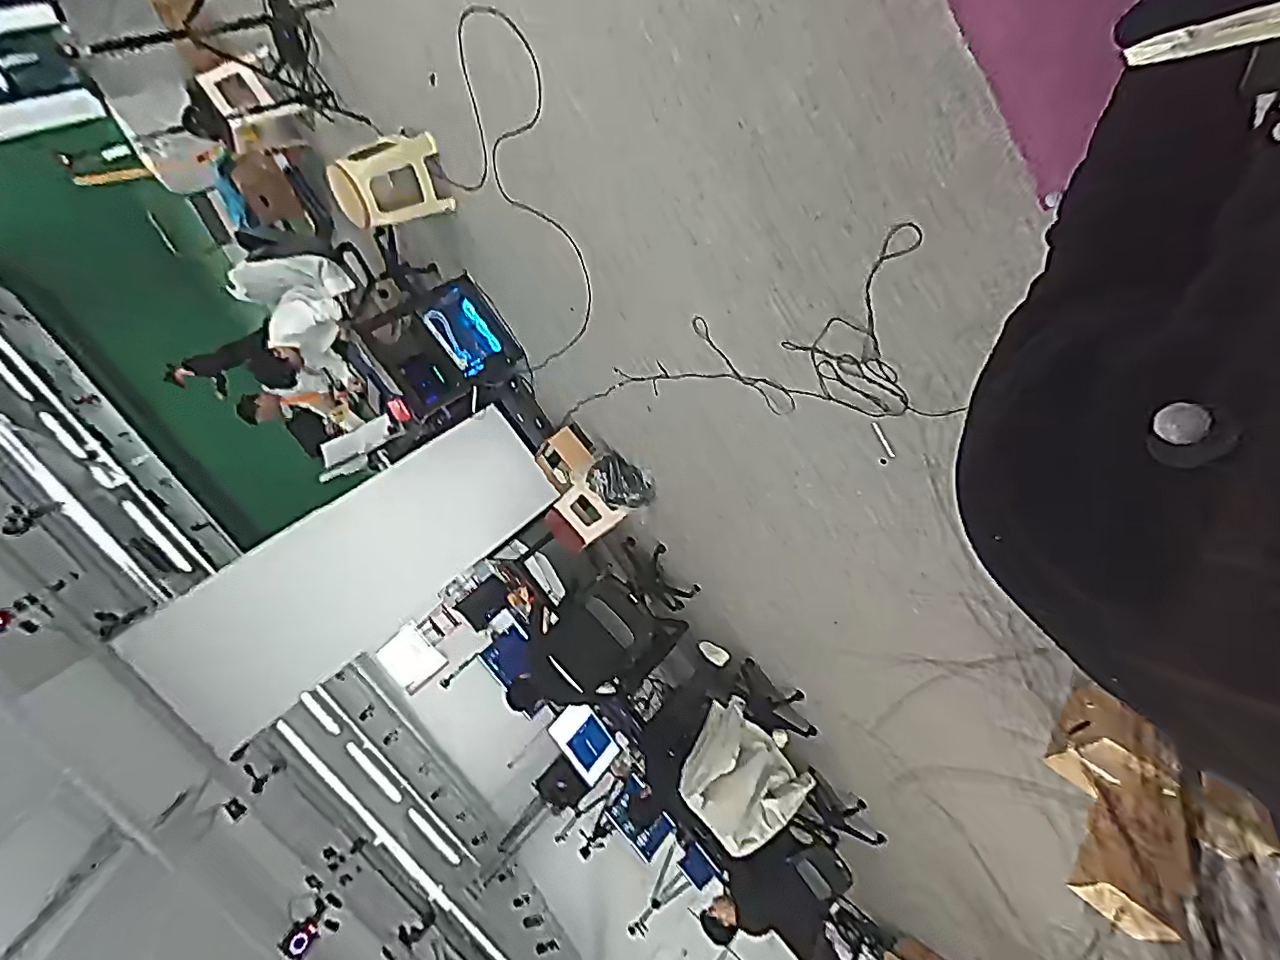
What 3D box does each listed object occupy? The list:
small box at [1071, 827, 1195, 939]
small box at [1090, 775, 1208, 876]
[{"bbox_3d":[1.304,1.059,1.430,0.168,0.176,0.179,35,150,26],"label":"small box"},{"bbox_3d":[1.416,0.963,1.503,0.168,0.176,0.179,35,149,26],"label":"small box"}]
